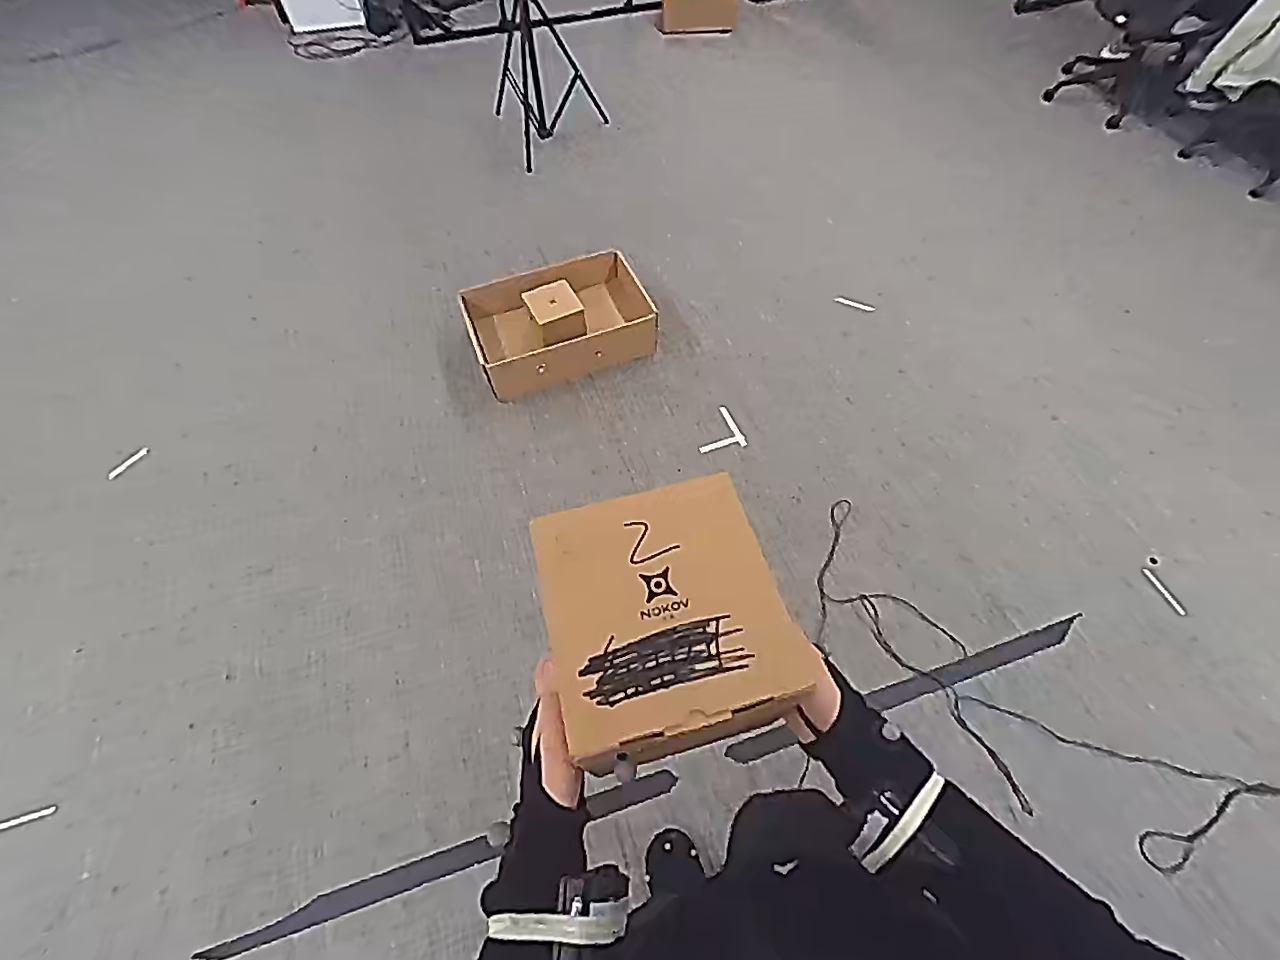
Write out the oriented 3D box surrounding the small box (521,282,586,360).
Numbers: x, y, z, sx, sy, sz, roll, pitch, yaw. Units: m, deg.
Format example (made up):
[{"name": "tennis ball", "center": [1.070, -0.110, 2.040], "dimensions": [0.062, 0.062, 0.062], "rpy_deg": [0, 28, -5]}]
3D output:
[{"name": "small box", "center": [-0.303, -0.560, 1.911], "dimensions": [0.168, 0.176, 0.179], "rpy_deg": [-25, 62, -13]}]
